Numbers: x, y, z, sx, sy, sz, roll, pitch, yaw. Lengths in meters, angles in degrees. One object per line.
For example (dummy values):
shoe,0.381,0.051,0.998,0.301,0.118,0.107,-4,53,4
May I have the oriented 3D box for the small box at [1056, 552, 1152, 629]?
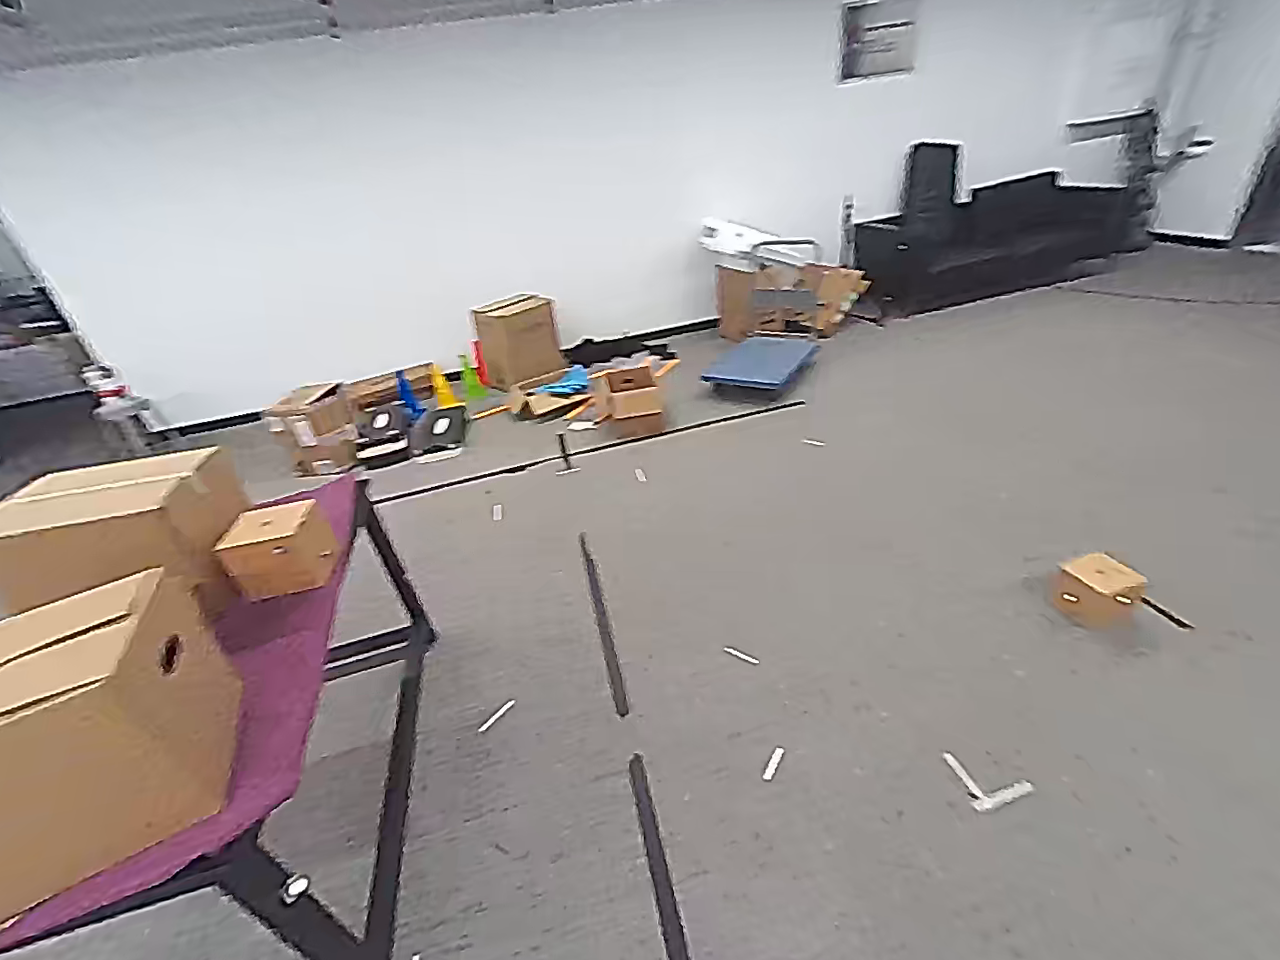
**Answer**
small box,1.555,0.377,1.827,0.179,0.176,0.168,-14,32,-10
